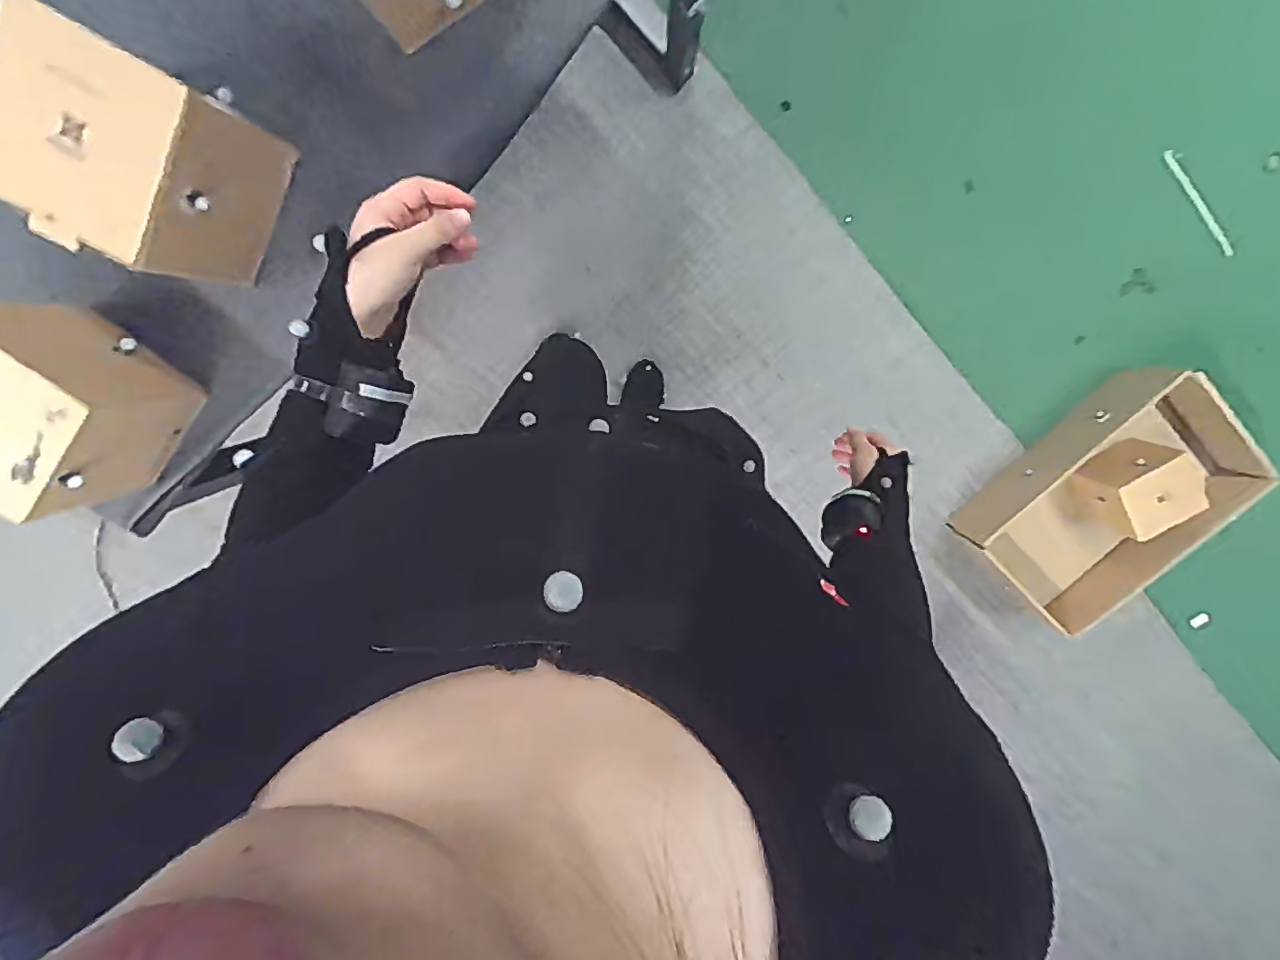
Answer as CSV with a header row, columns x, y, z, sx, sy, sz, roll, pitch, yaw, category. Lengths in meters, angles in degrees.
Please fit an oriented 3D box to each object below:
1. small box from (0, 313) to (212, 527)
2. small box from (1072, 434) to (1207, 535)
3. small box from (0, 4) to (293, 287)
x,y,z,sx,sy,sz,roll,pitch,yaw,category
-0.678,-0.078,0.640,0.179,0.176,0.168,38,101,-9,small box
1.252,0.005,1.374,0.179,0.176,0.168,-33,104,9,small box
-0.516,-0.326,0.577,0.168,0.176,0.179,27,102,-8,small box
